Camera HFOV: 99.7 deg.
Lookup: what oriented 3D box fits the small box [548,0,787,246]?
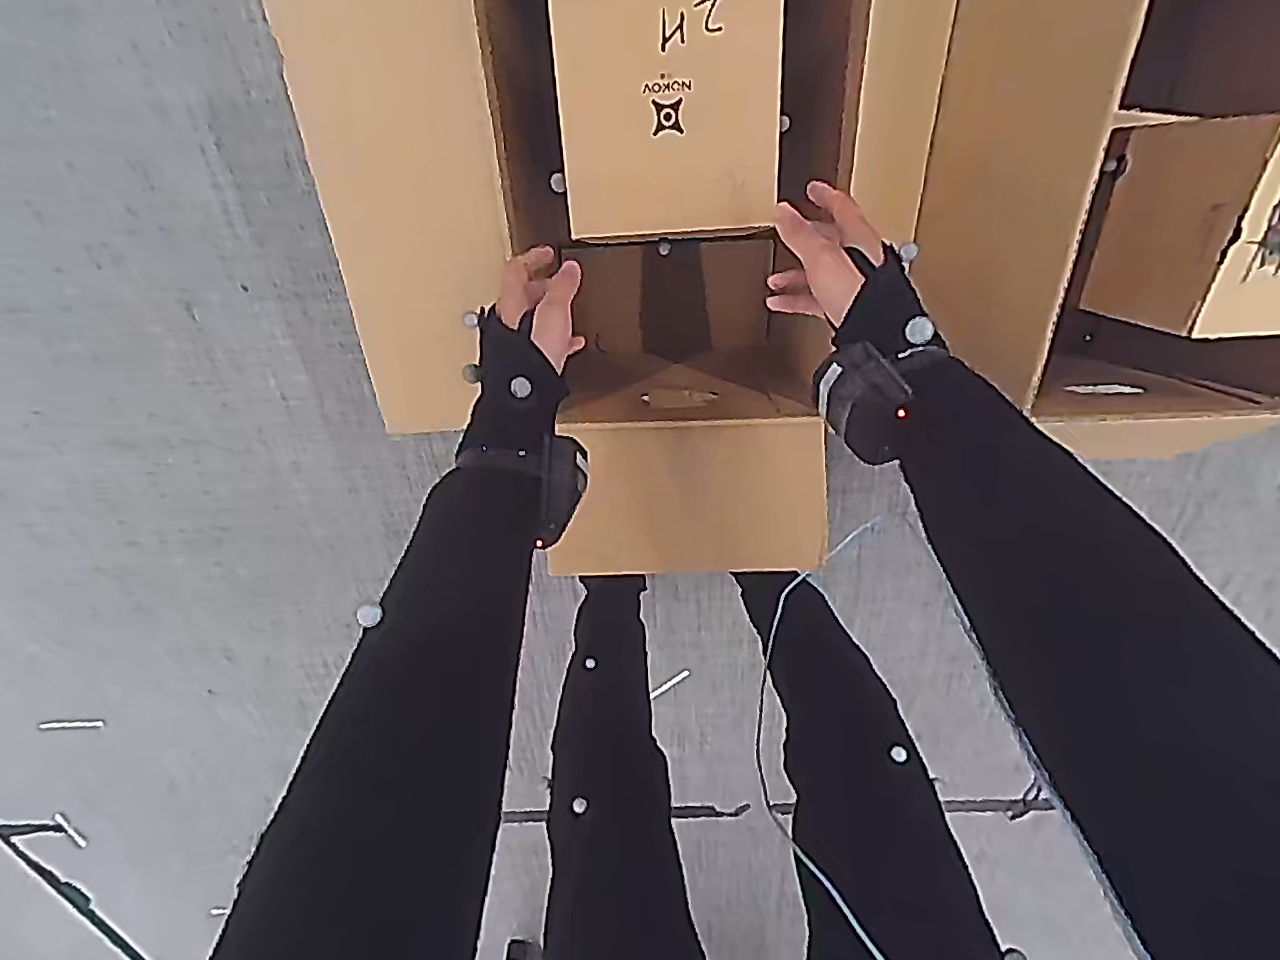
[{"bbox_3d":[0.024,-0.300,0.466,0.168,0.176,0.179,-2,112,2],"label":"small box"}]
